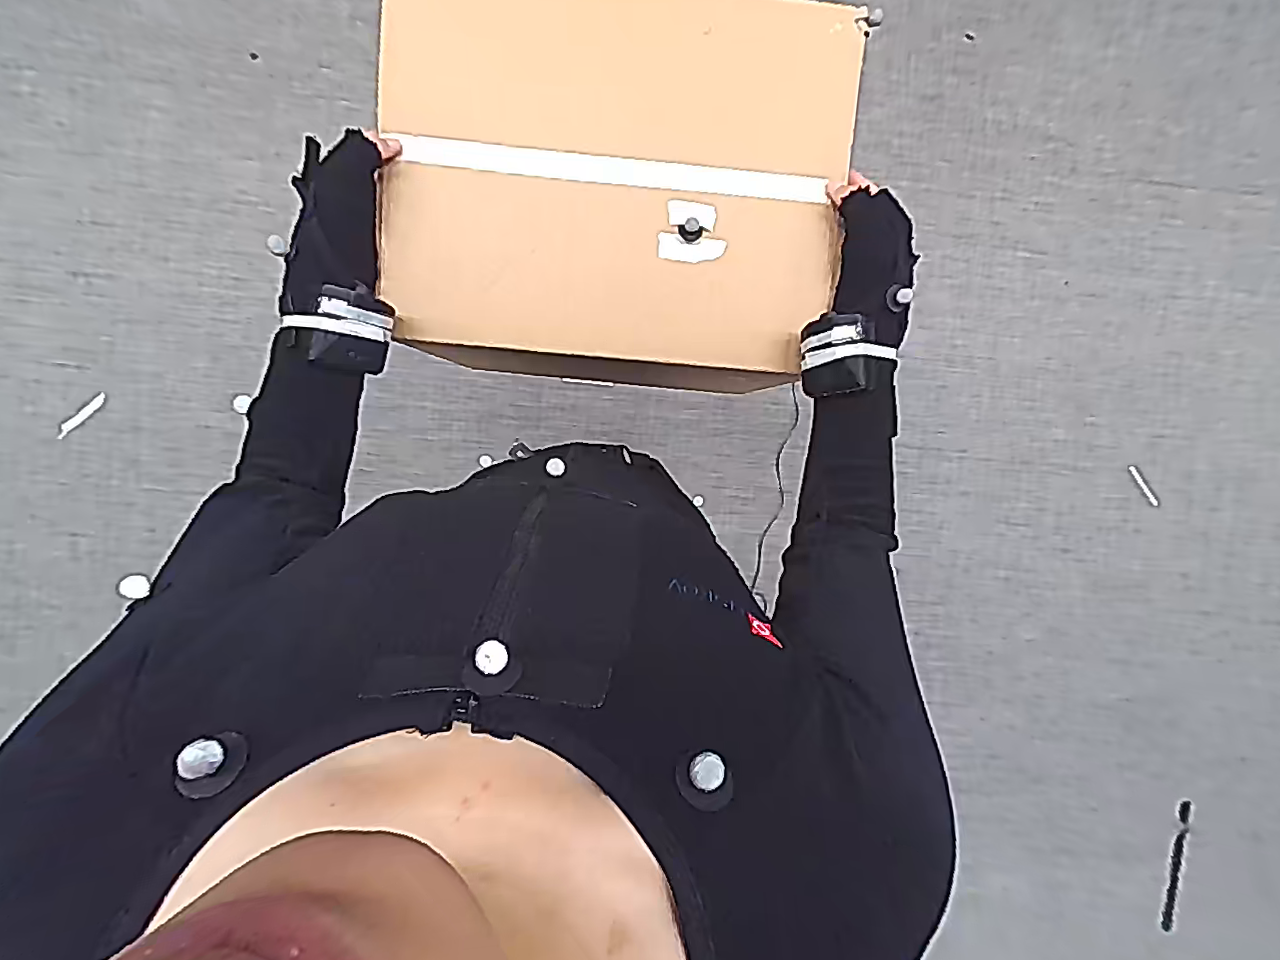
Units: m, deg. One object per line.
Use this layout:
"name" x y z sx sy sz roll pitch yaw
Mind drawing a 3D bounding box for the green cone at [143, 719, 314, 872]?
"green cone" -1.016 0.784 1.304 0.202 0.368 0.200 -33 93 1

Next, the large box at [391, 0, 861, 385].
"large box" -0.023 -0.287 0.620 0.408 0.320 0.320 4 96 -4
